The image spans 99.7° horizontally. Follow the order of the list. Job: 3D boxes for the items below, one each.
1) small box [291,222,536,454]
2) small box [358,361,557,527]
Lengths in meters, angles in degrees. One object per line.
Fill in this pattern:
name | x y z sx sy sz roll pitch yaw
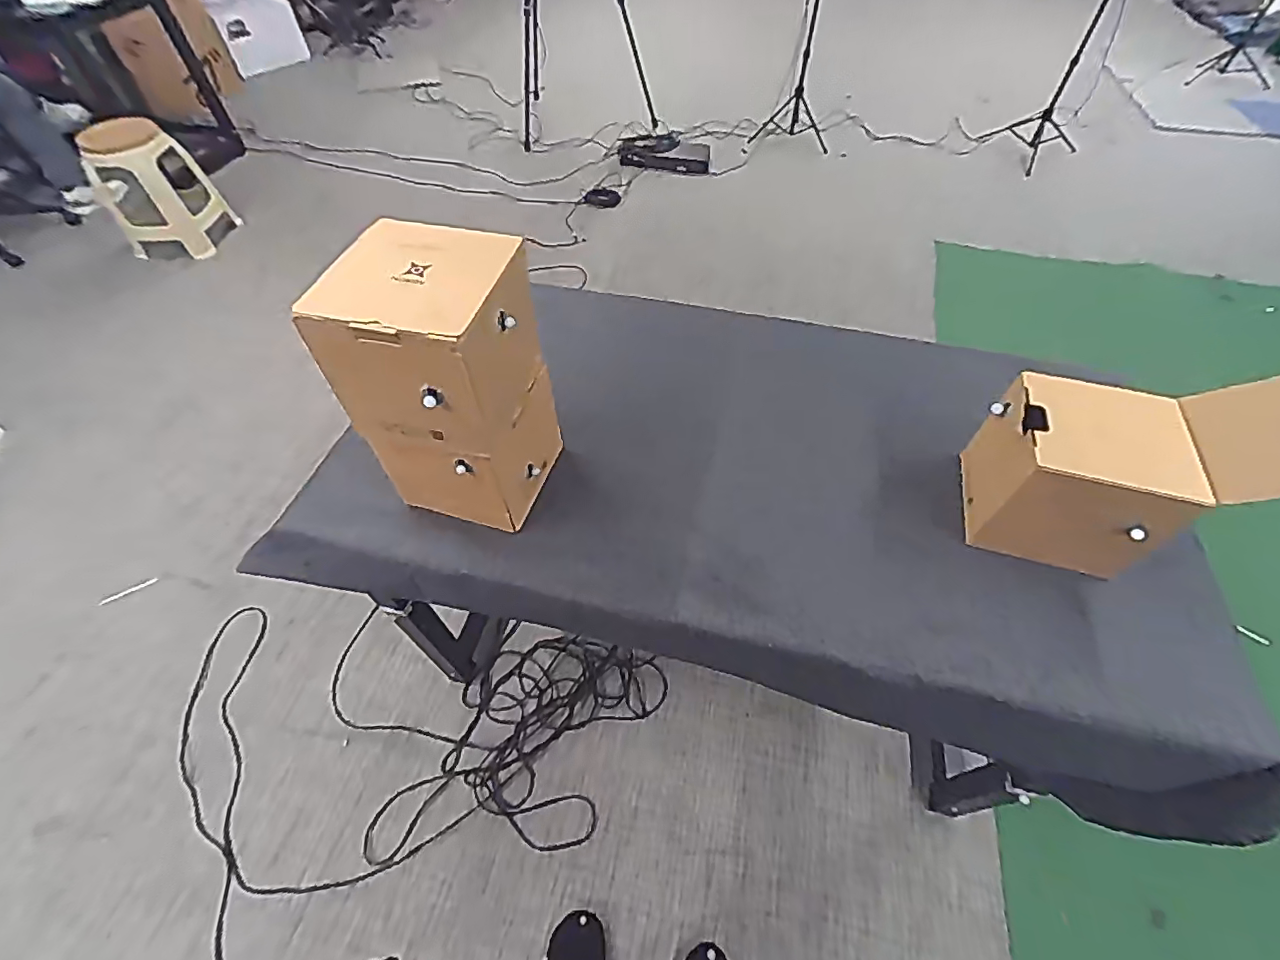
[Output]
small box | -0.222 -0.151 0.591 0.168 0.176 0.179 10 52 5
small box | -0.226 -0.059 0.725 0.179 0.176 0.168 14 53 10
